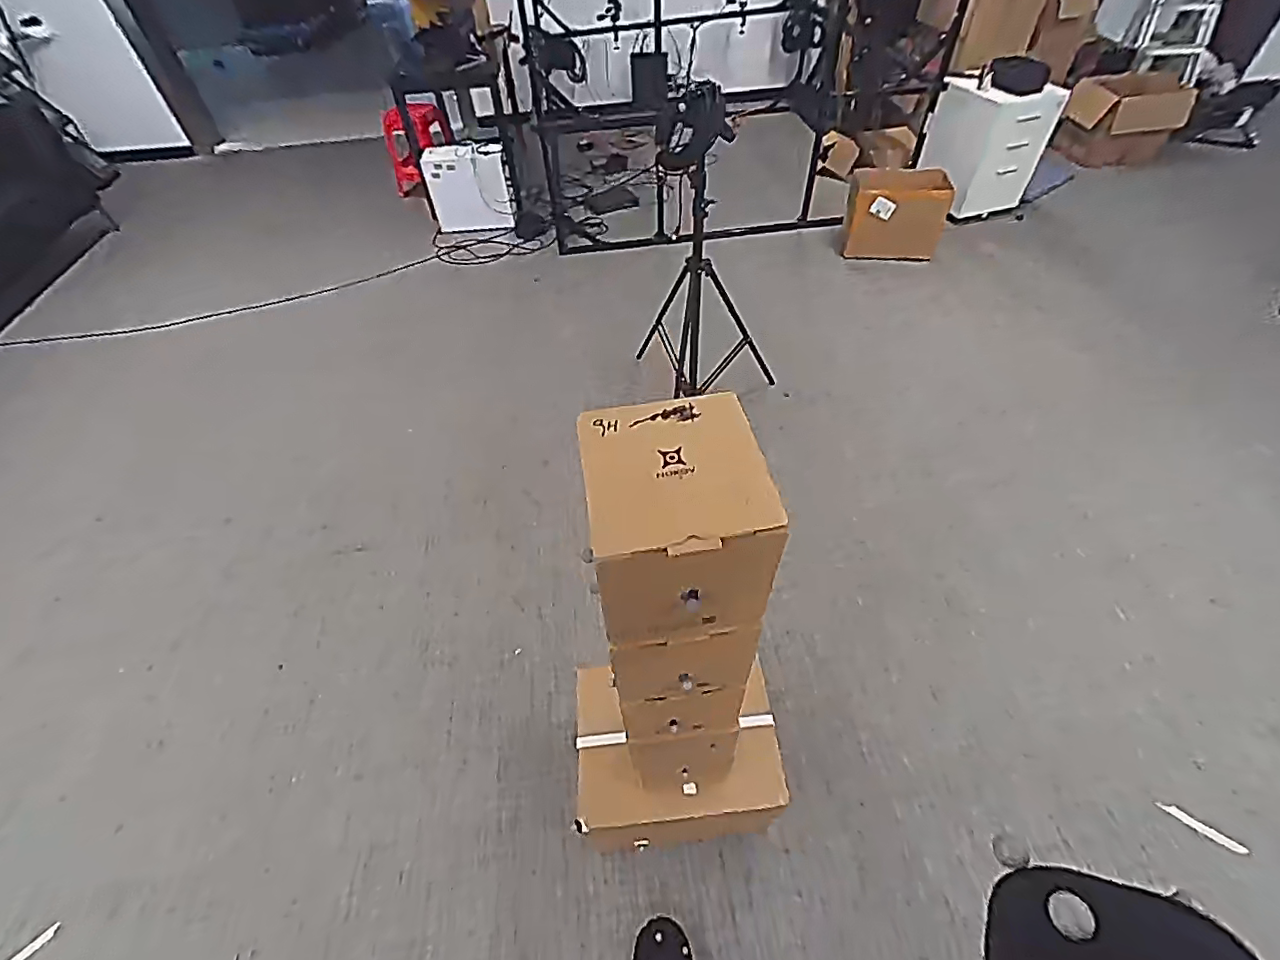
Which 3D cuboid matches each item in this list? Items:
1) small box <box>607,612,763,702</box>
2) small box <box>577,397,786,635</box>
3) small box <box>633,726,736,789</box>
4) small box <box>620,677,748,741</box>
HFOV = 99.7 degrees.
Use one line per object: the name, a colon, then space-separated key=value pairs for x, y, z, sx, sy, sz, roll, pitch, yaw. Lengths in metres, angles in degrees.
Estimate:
small box: x=0.041 y=0.153 z=0.675 sx=0.168 sy=0.176 sz=0.179 roll=-9 pitch=51 yaw=-3
small box: x=0.033 y=0.044 z=0.553 sx=0.168 sy=0.176 sz=0.179 roll=-9 pitch=51 yaw=-4
small box: x=0.075 y=0.480 z=1.041 sx=0.179 sy=0.176 sz=0.168 roll=-7 pitch=51 yaw=-4
small box: x=0.050 y=0.262 z=0.799 sx=0.168 sy=0.176 sz=0.179 roll=-7 pitch=51 yaw=-3
